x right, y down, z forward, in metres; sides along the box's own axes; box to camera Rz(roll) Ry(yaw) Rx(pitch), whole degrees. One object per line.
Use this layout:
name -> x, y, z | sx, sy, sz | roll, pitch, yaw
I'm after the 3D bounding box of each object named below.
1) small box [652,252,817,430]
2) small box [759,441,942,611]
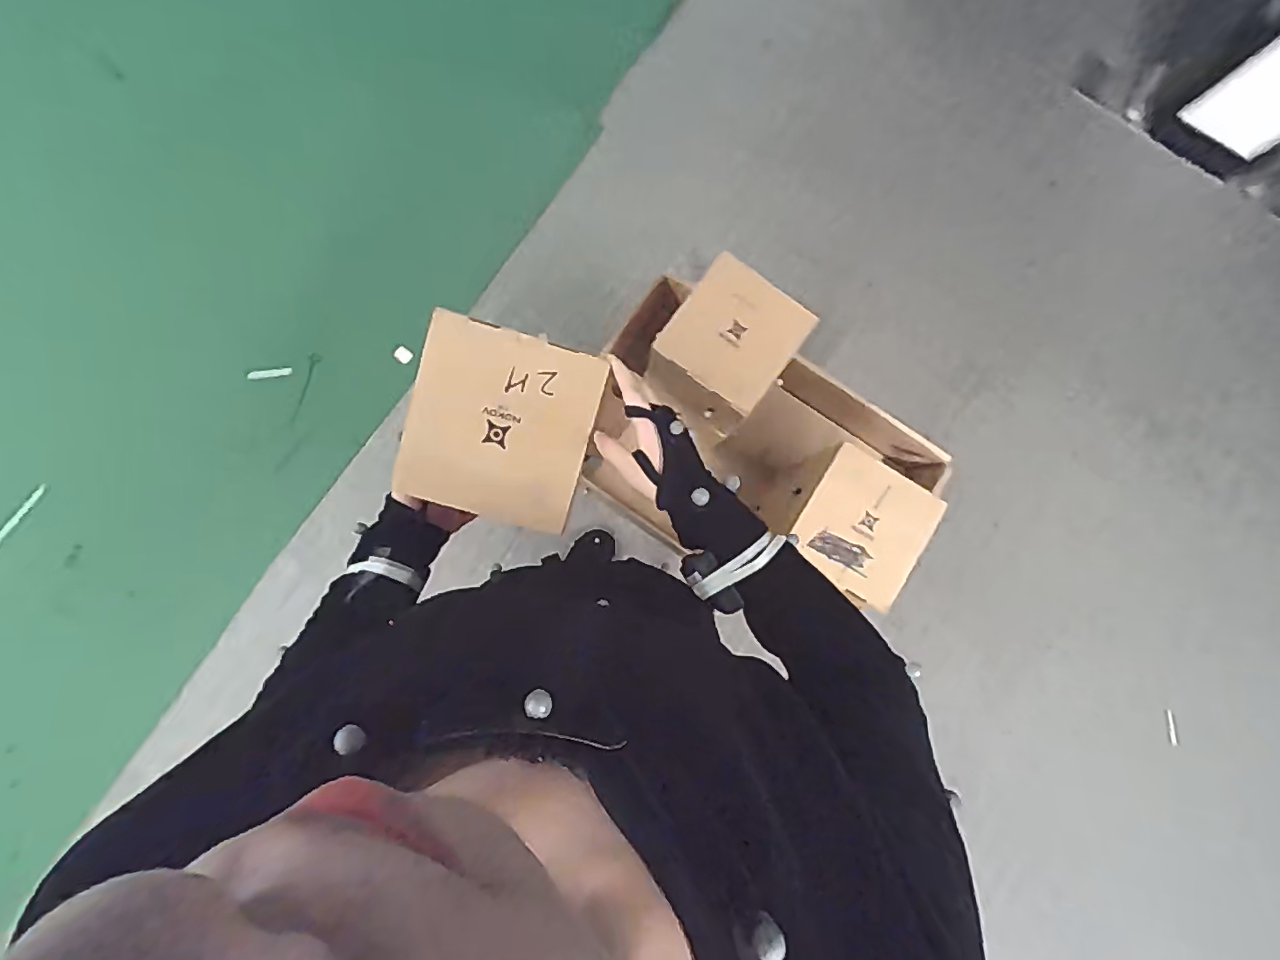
small box -> 0.131, -0.197, 0.826 | 0.168, 0.176, 0.179 | 38, 85, 0
small box -> 0.297, 0.067, 0.809 | 0.168, 0.176, 0.179 | 33, 85, 1
